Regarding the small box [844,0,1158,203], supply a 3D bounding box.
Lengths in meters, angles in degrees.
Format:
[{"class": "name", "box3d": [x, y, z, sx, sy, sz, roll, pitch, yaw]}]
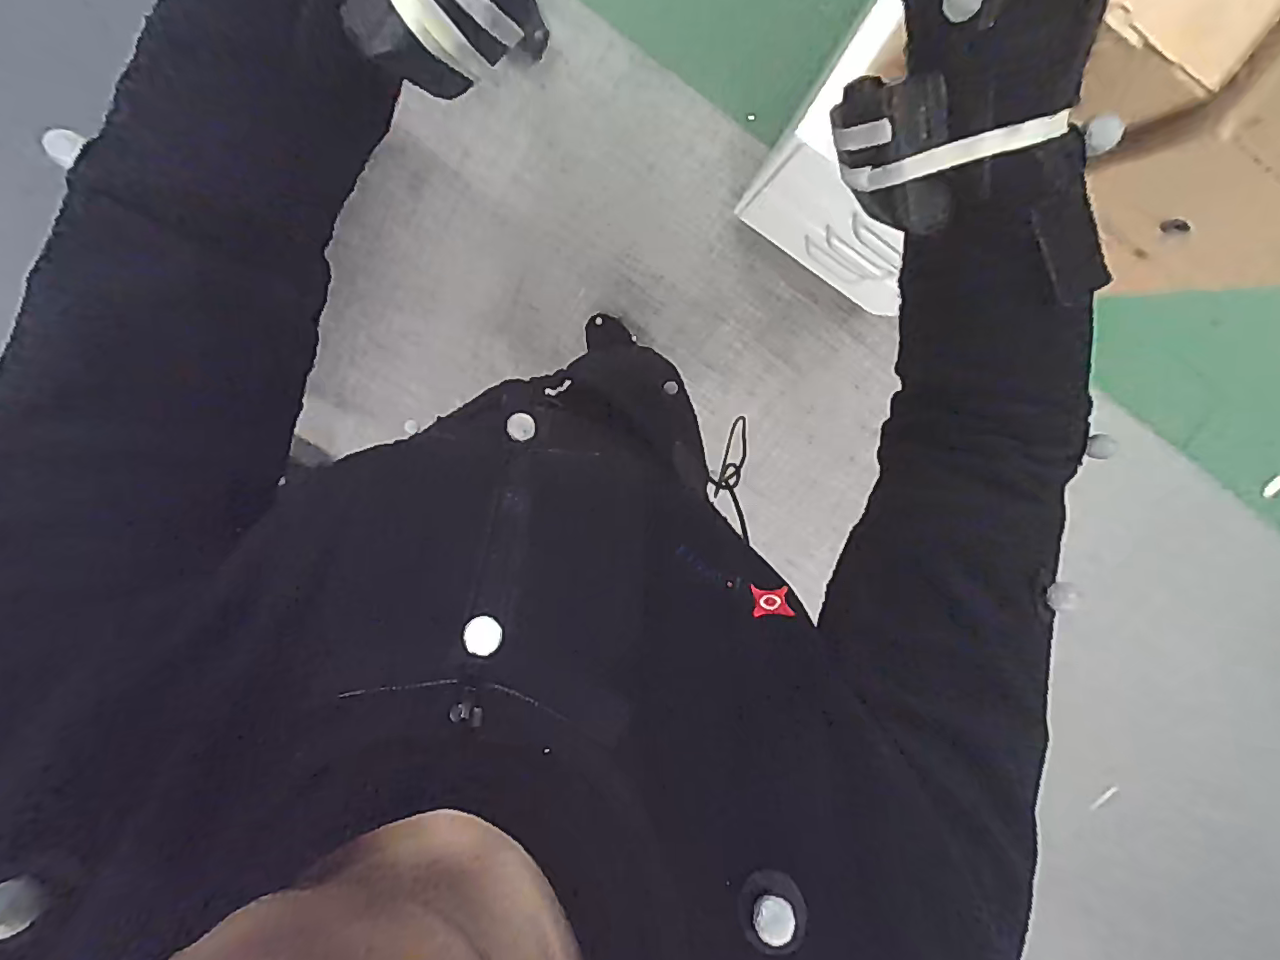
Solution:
[{"class": "small box", "box3d": [0.336, -0.416, 0.550, 0.168, 0.176, 0.179, 32, 104, -10]}]
